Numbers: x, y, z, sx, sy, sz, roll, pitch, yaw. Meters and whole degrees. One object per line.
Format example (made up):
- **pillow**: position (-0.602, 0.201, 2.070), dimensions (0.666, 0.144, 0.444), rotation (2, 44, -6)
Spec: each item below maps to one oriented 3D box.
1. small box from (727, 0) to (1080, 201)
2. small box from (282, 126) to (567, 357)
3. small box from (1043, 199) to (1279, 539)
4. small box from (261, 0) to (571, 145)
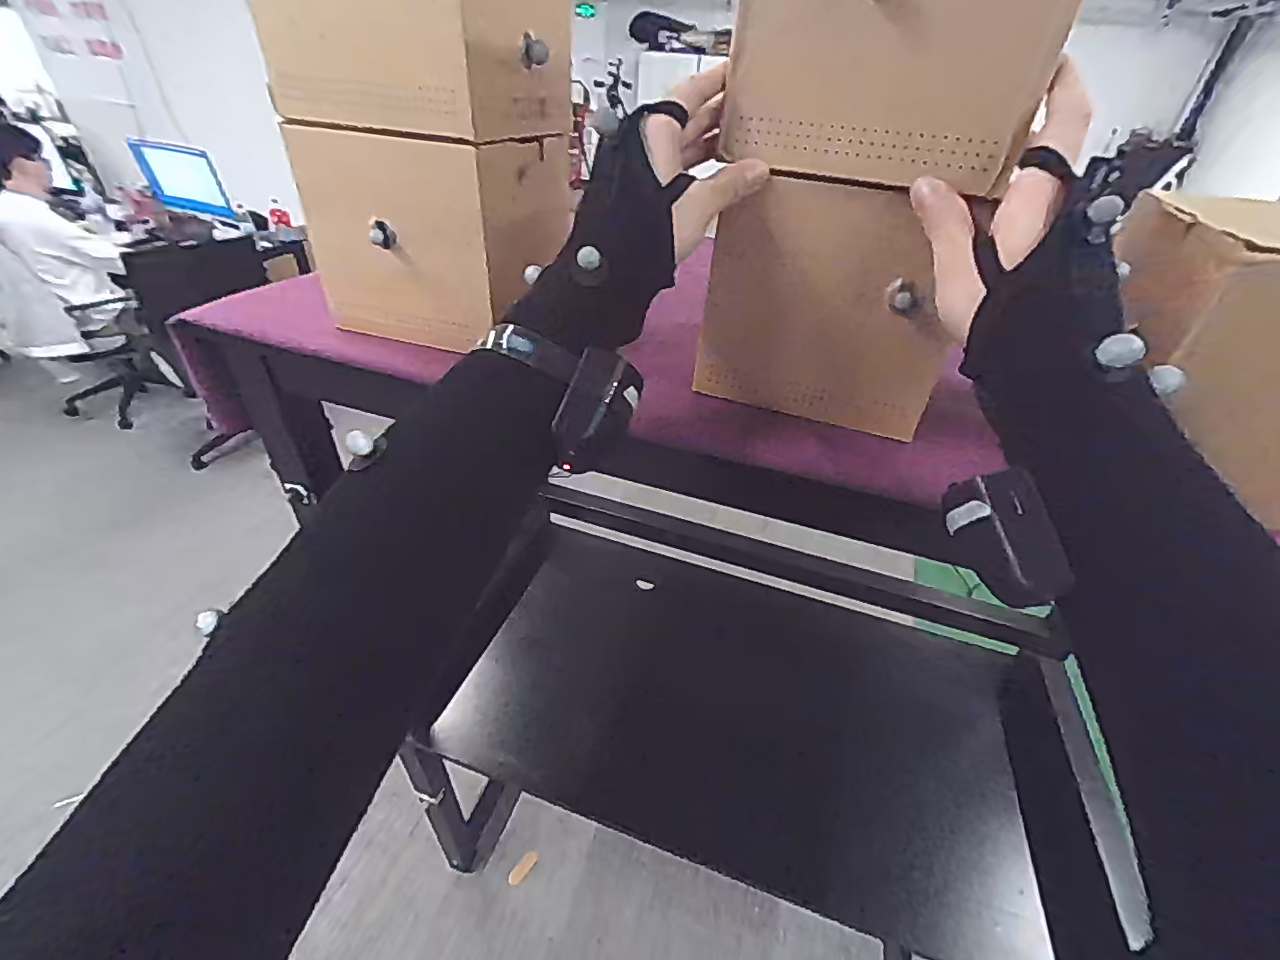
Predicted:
- **small box**: position (0.167, -0.286, 0.347), dimensions (0.179, 0.176, 0.168), rotation (18, 39, 19)
- **small box**: position (-0.178, -0.231, 0.511), dimensions (0.179, 0.176, 0.168), rotation (13, 37, 12)
- **small box**: position (0.415, -0.079, 0.372), dimensions (0.179, 0.176, 0.168), rotation (16, 40, 15)
- **small box**: position (-0.165, -0.363, 0.414), dimensions (0.179, 0.176, 0.168), rotation (14, 38, 13)
